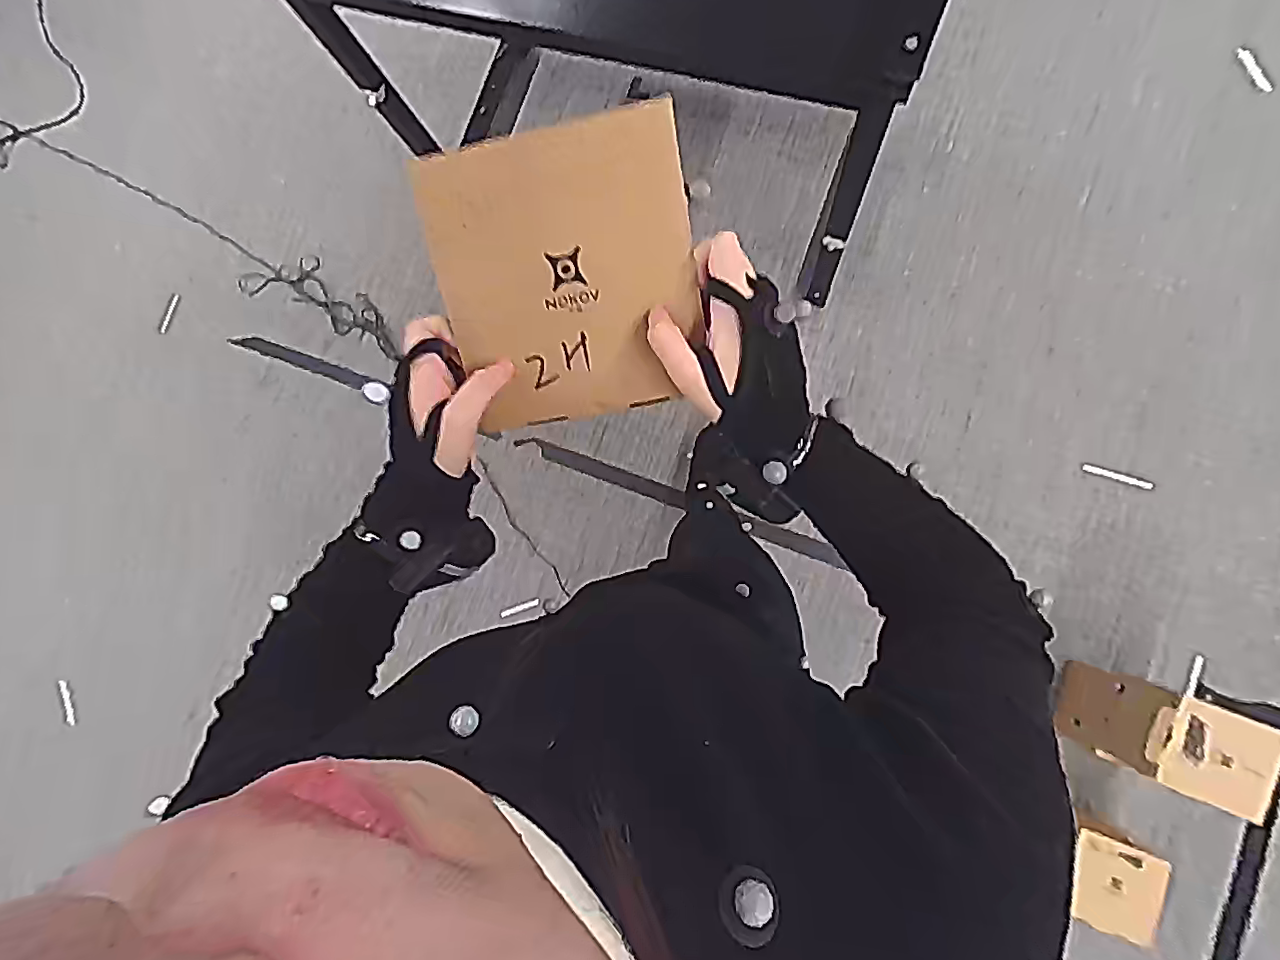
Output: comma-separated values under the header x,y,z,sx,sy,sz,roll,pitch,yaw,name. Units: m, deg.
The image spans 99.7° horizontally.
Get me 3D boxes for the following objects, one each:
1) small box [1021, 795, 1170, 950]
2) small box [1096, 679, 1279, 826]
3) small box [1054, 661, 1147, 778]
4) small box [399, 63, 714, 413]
x,y,z,sx,sy,sz,roll,pitch,yaw,name
0.962,0.828,1.161,0.168,0.176,0.179,19,88,11,small box
1.021,0.495,1.018,0.179,0.176,0.168,21,89,10,small box
1.049,0.522,1.178,0.168,0.176,0.179,18,87,11,small box
-0.042,-0.164,0.405,0.168,0.176,0.179,-9,110,7,small box
